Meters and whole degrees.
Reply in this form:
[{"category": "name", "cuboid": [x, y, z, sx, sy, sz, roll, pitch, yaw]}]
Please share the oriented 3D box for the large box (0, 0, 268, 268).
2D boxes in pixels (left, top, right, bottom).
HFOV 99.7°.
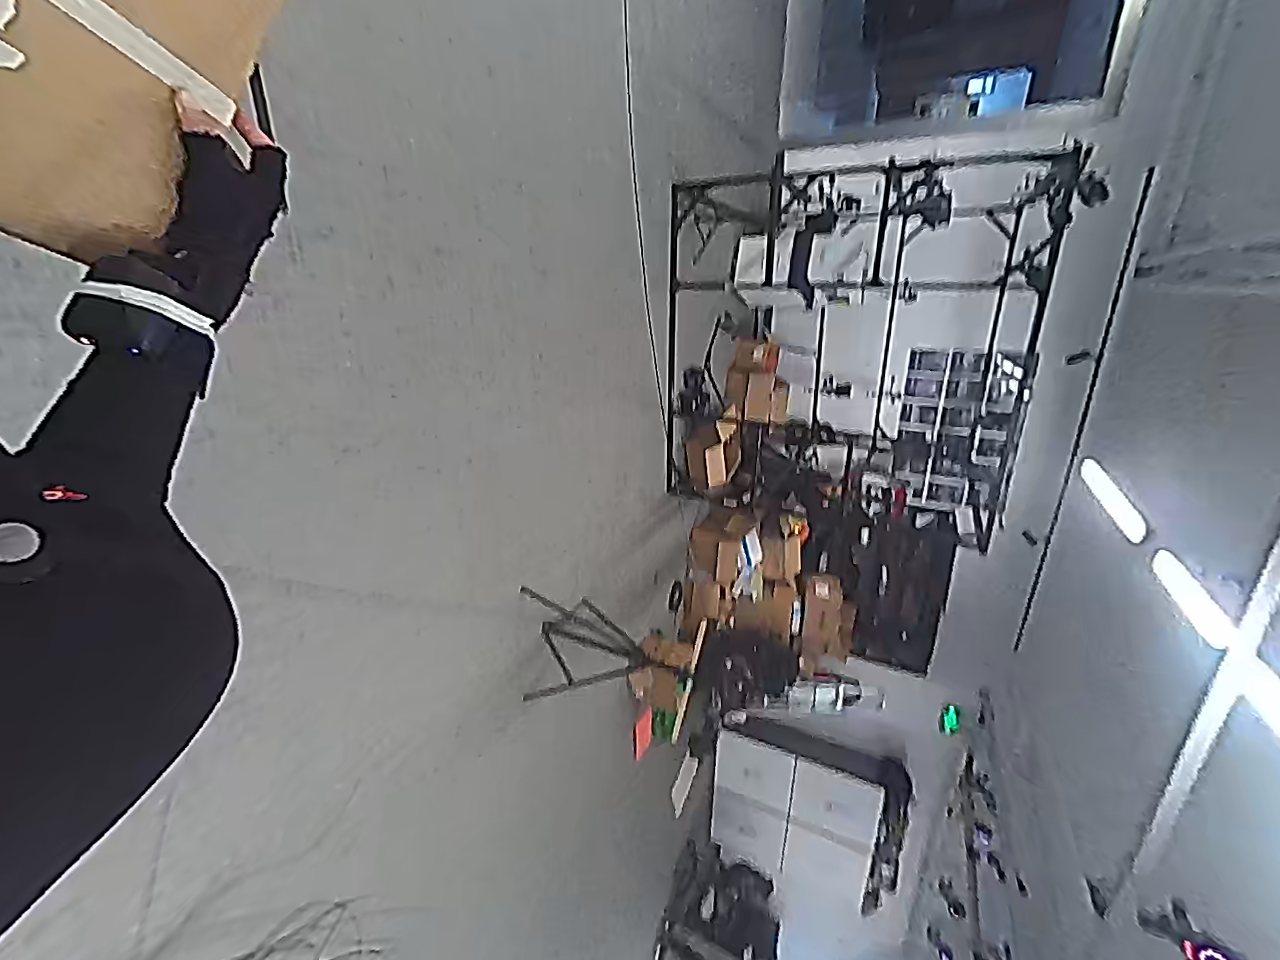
[{"category": "large box", "cuboid": [-0.554, -0.398, 0.339, 0.320, 0.320, 0.408, -66, 154, -1]}]
